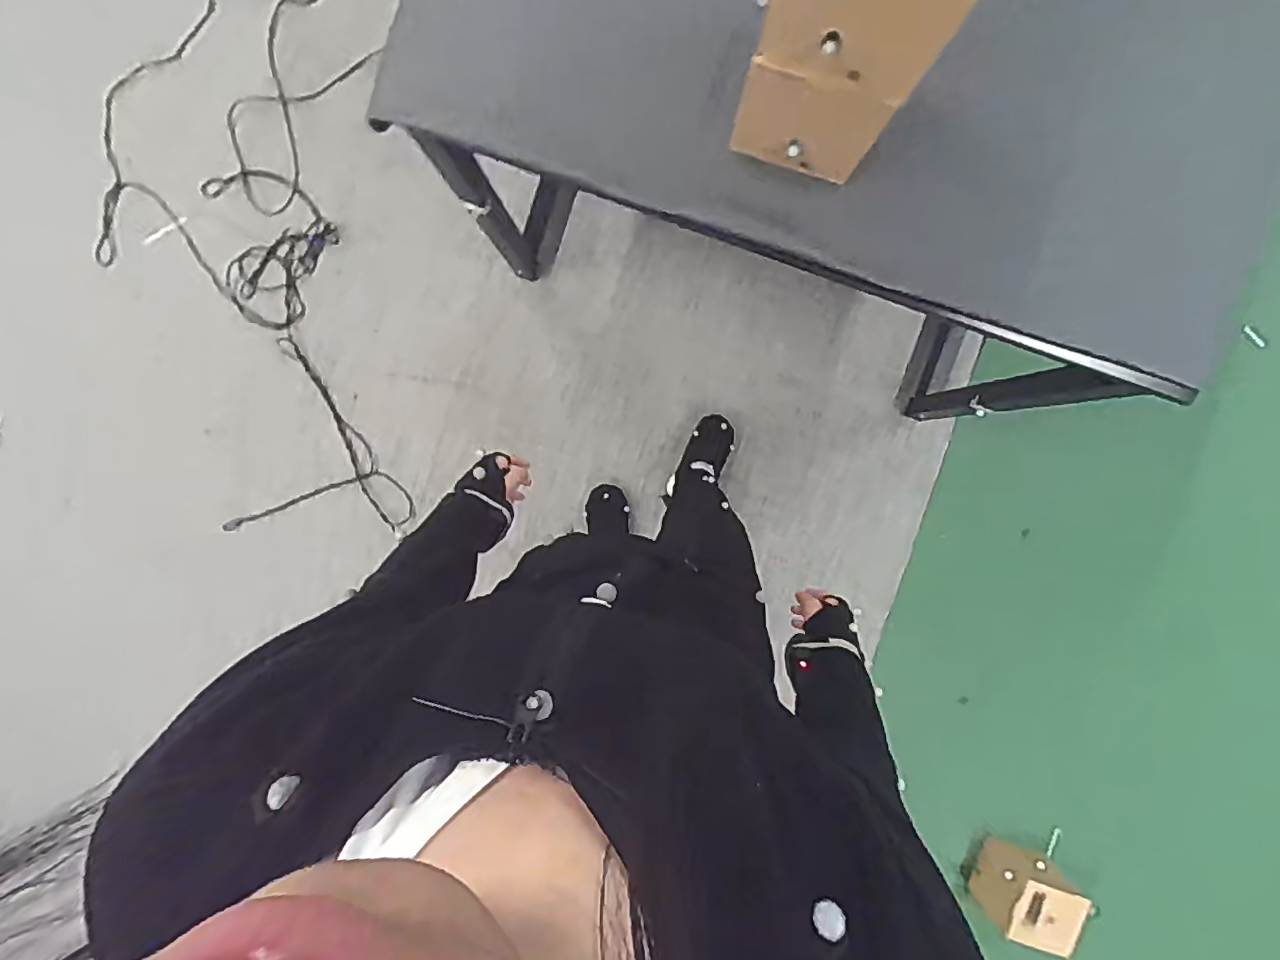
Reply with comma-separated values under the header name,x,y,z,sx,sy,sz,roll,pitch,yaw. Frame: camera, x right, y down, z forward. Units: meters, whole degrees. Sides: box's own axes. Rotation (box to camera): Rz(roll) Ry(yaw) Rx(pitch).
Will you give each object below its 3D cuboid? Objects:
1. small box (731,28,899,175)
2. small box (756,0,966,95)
name,x,y,z,sx,sy,sz,roll,pitch,yaw
small box,0.217,-0.509,0.643,0.168,0.176,0.179,17,92,0
small box,0.217,-0.502,0.481,0.168,0.176,0.179,17,93,-1
